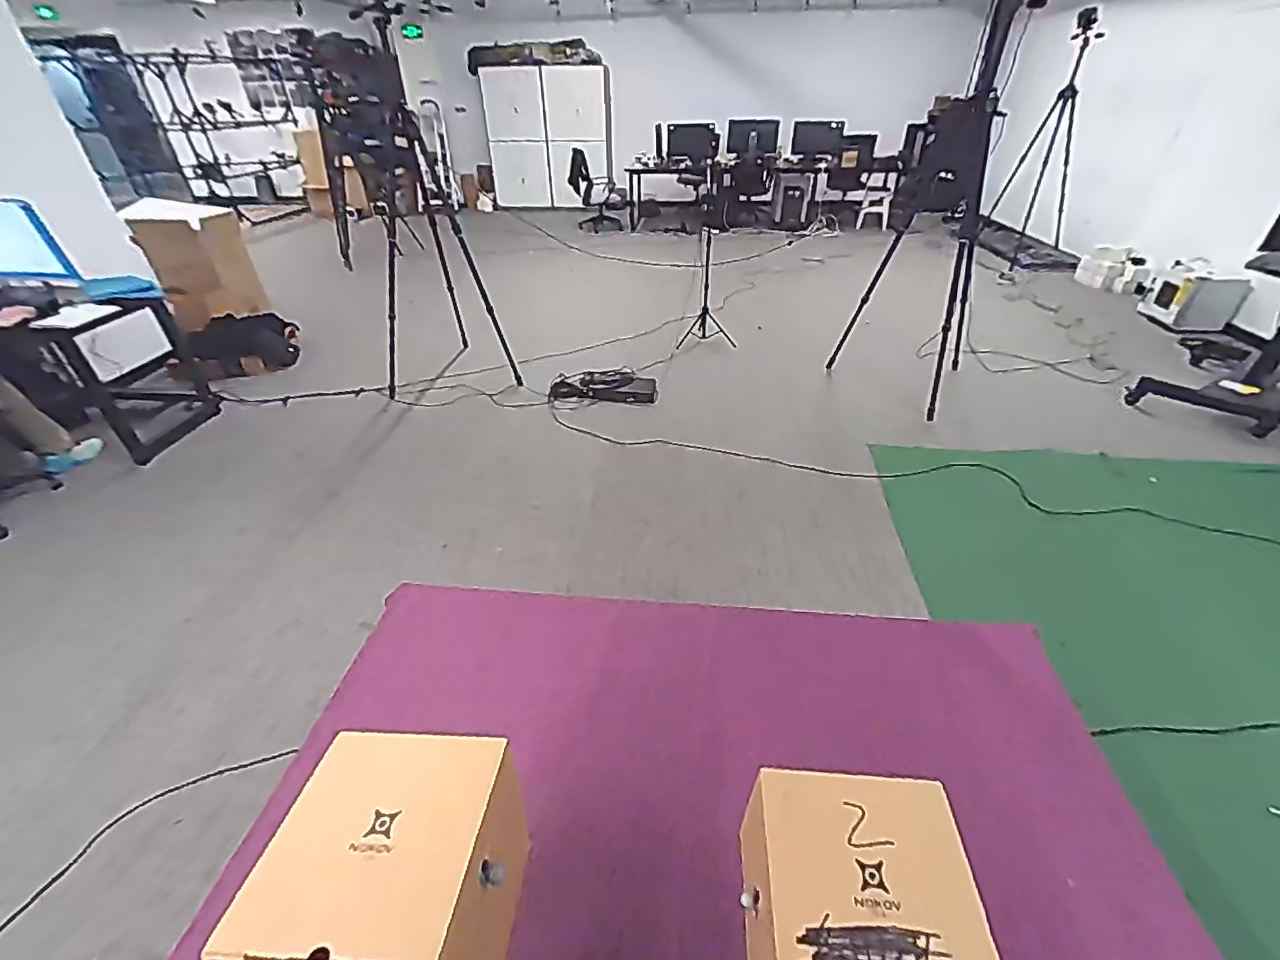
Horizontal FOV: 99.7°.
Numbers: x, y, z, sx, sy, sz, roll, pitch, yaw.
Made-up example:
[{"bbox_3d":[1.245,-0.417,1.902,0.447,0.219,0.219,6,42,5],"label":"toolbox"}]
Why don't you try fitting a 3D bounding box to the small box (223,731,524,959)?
[{"bbox_3d":[-0.209,0.359,0.486,0.168,0.176,0.179,0,29,4],"label":"small box"}]
